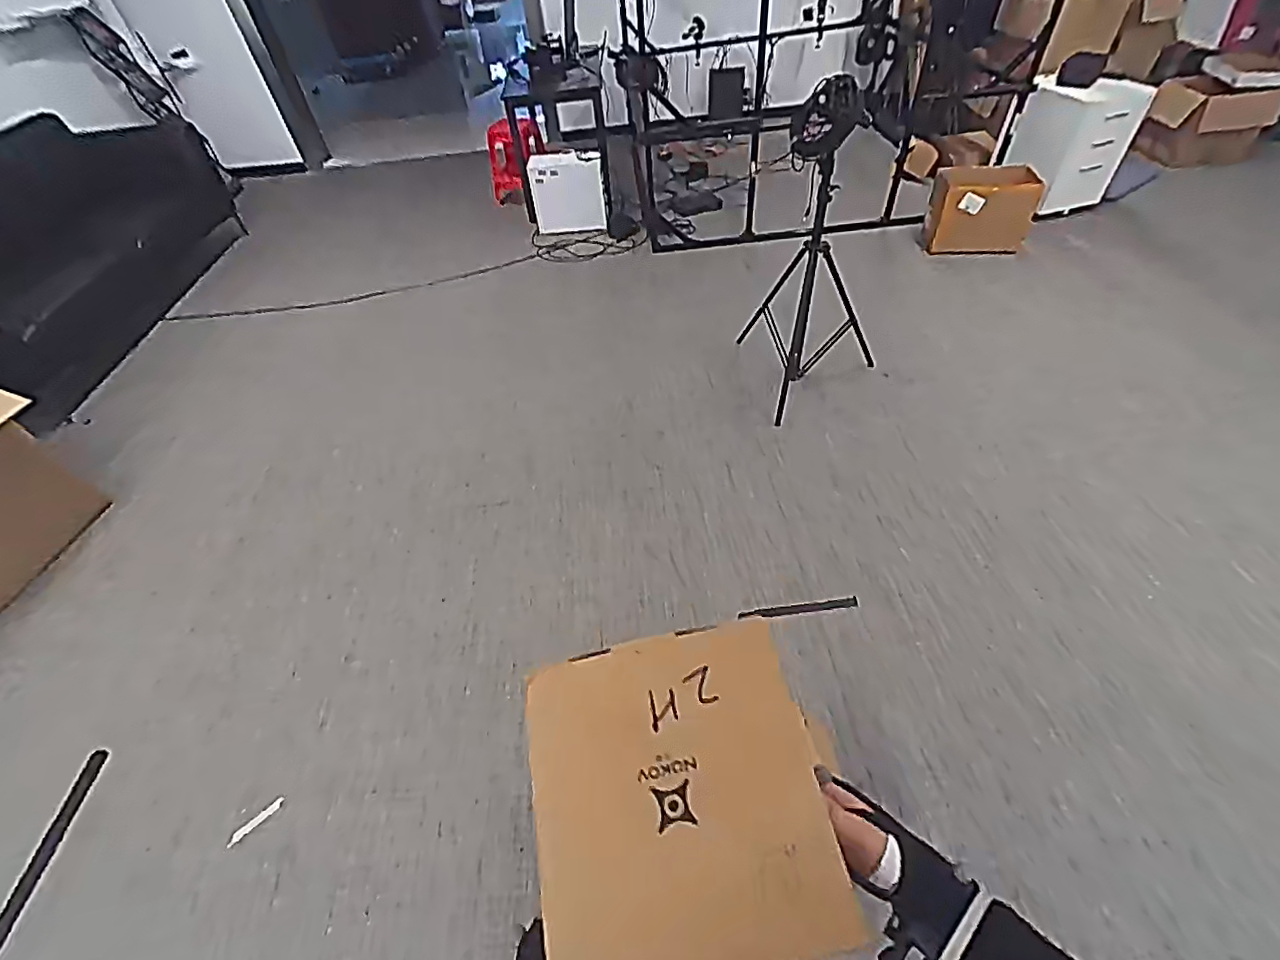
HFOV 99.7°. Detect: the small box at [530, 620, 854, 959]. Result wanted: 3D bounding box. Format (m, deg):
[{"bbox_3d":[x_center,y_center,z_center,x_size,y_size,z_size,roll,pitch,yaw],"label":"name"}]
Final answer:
[{"bbox_3d":[0.029,0.224,0.393,0.168,0.176,0.179,-13,58,0],"label":"small box"}]
